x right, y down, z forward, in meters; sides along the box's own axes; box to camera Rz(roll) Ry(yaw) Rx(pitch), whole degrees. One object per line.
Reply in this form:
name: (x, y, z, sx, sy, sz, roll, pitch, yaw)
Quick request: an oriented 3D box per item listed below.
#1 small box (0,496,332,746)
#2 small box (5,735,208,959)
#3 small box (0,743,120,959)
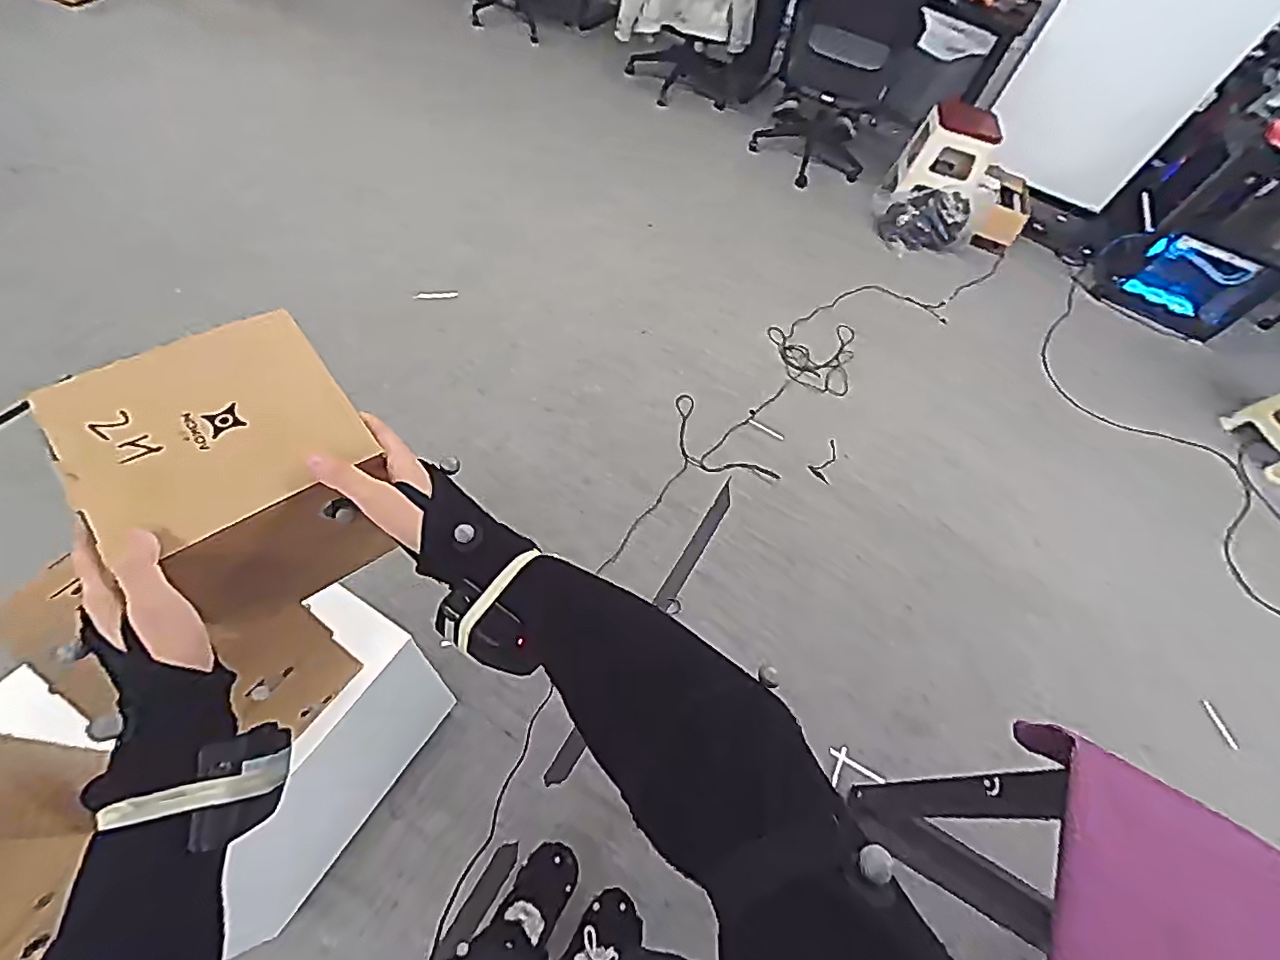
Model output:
small box: (-0.471, 0.155, 0.566, 0.179, 0.176, 0.168, 33, 59, 9)
small box: (-0.630, 0.409, 0.577, 0.179, 0.176, 0.168, 30, 58, 10)
small box: (-0.603, 0.323, 0.440, 0.179, 0.176, 0.168, 29, 58, 9)
